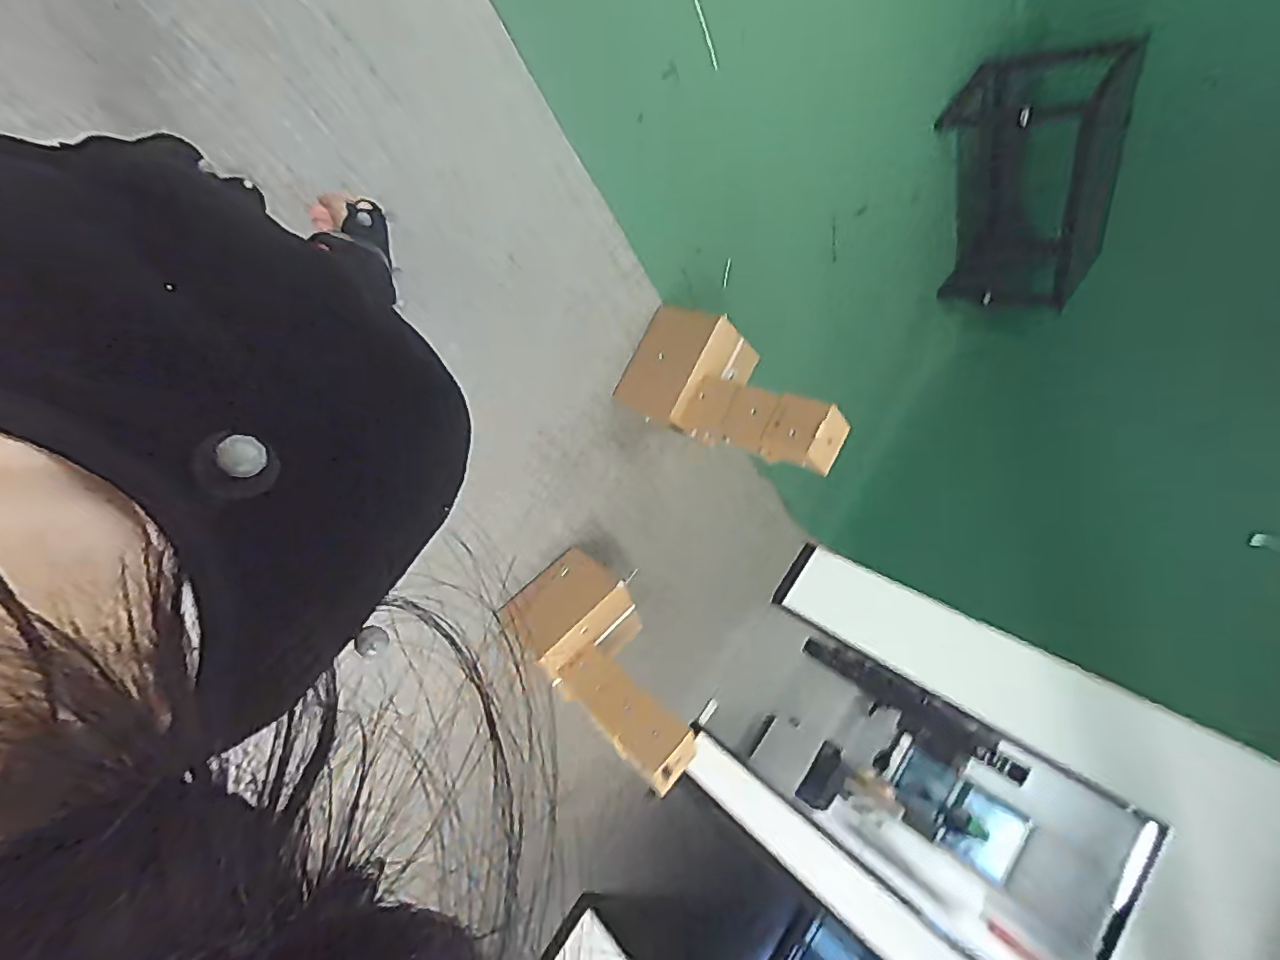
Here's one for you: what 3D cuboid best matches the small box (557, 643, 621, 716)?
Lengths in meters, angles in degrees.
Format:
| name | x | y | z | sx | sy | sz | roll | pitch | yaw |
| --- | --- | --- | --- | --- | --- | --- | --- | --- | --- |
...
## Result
| name | x | y | z | sx | sy | sz | roll | pitch | yaw |
| --- | --- | --- | --- | --- | --- | --- | --- | --- | --- |
| small box | -0.165 | 0.717 | 1.923 | 0.168 | 0.176 | 0.179 | -40 | 135 | -25 |

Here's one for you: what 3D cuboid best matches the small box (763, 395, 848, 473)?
| name | x | y | z | sx | sy | sz | roll | pitch | yaw |
| --- | --- | --- | --- | --- | --- | --- | --- | --- | --- |
| small box | 0.506 | -0.146 | 1.665 | 0.179 | 0.176 | 0.168 | 30 | 87 | -49 |

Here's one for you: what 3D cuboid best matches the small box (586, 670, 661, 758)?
| name | x | y | z | sx | sy | sz | roll | pitch | yaw |
| --- | --- | --- | --- | --- | --- | --- | --- | --- | --- |
| small box | -0.061 | 0.780 | 1.816 | 0.179 | 0.176 | 0.168 | -39 | 135 | -26 |

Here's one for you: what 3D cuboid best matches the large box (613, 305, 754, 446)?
| name | x | y | z | sx | sy | sz | roll | pitch | yaw |
| --- | --- | --- | --- | --- | --- | --- | --- | --- | --- |
| large box | 0.163 | -0.396 | 2.056 | 0.320 | 0.320 | 0.408 | 27 | 88 | -50 |

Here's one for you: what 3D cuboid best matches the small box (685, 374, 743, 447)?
| name | x | y | z | sx | sy | sz | roll | pitch | yaw |
| --- | --- | --- | --- | --- | --- | --- | --- | --- | --- |
| small box | 0.279 | -0.244 | 1.881 | 0.168 | 0.176 | 0.179 | 34 | 84 | -49 |

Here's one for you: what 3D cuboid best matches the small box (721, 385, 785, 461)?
| name | x | y | z | sx | sy | sz | roll | pitch | yaw |
| --- | --- | --- | --- | --- | --- | --- | --- | --- | --- |
| small box | 0.389 | -0.189 | 1.772 | 0.168 | 0.176 | 0.179 | 28 | 88 | -49 |
